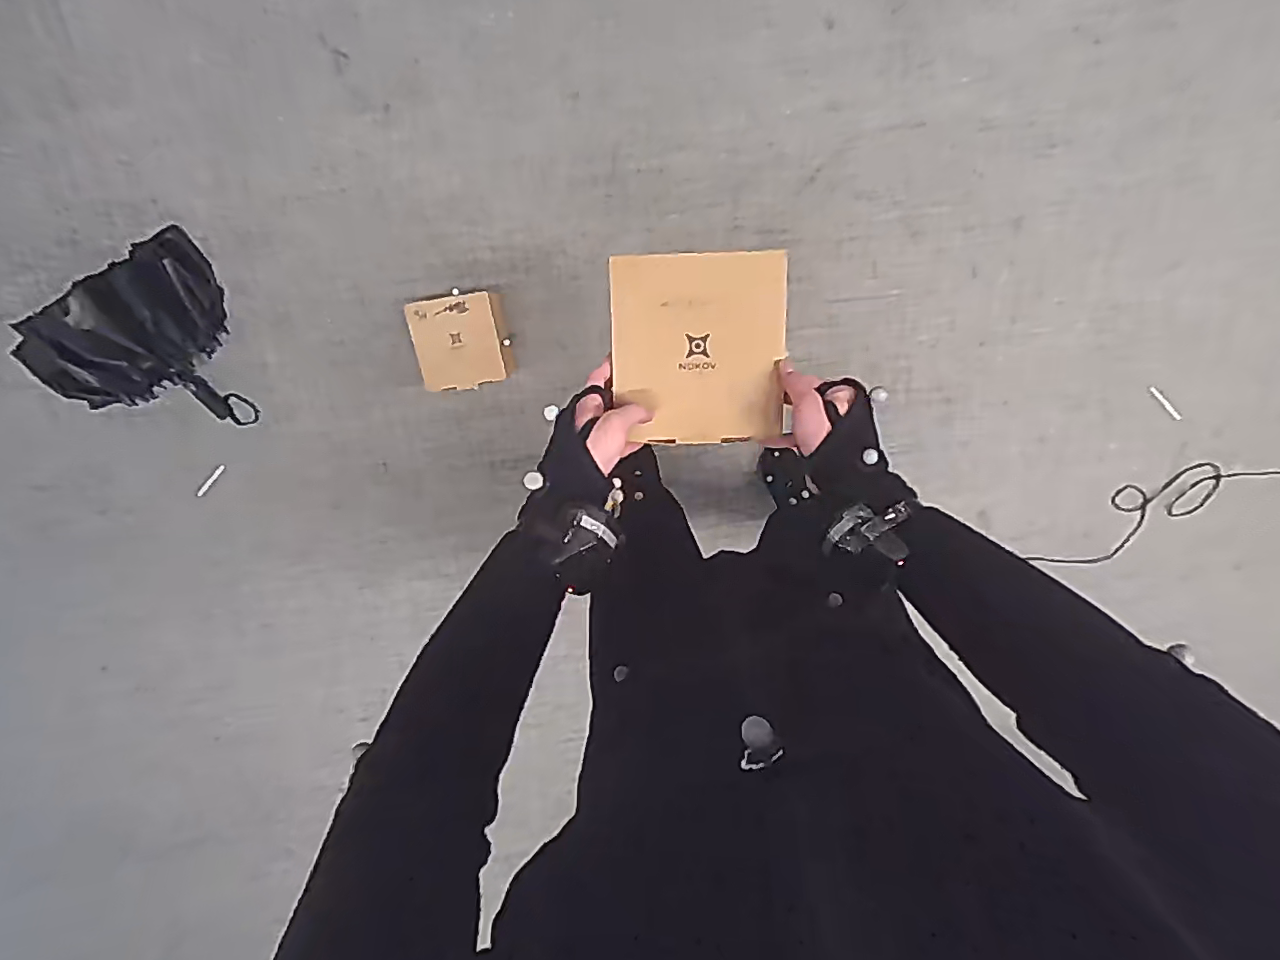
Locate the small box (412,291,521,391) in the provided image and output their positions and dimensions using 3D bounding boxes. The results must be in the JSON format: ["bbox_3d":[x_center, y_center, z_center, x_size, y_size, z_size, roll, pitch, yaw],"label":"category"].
[{"bbox_3d":[-0.359,-0.301,1.156,0.168,0.176,0.179,-11,108,-2],"label":"small box"}]
